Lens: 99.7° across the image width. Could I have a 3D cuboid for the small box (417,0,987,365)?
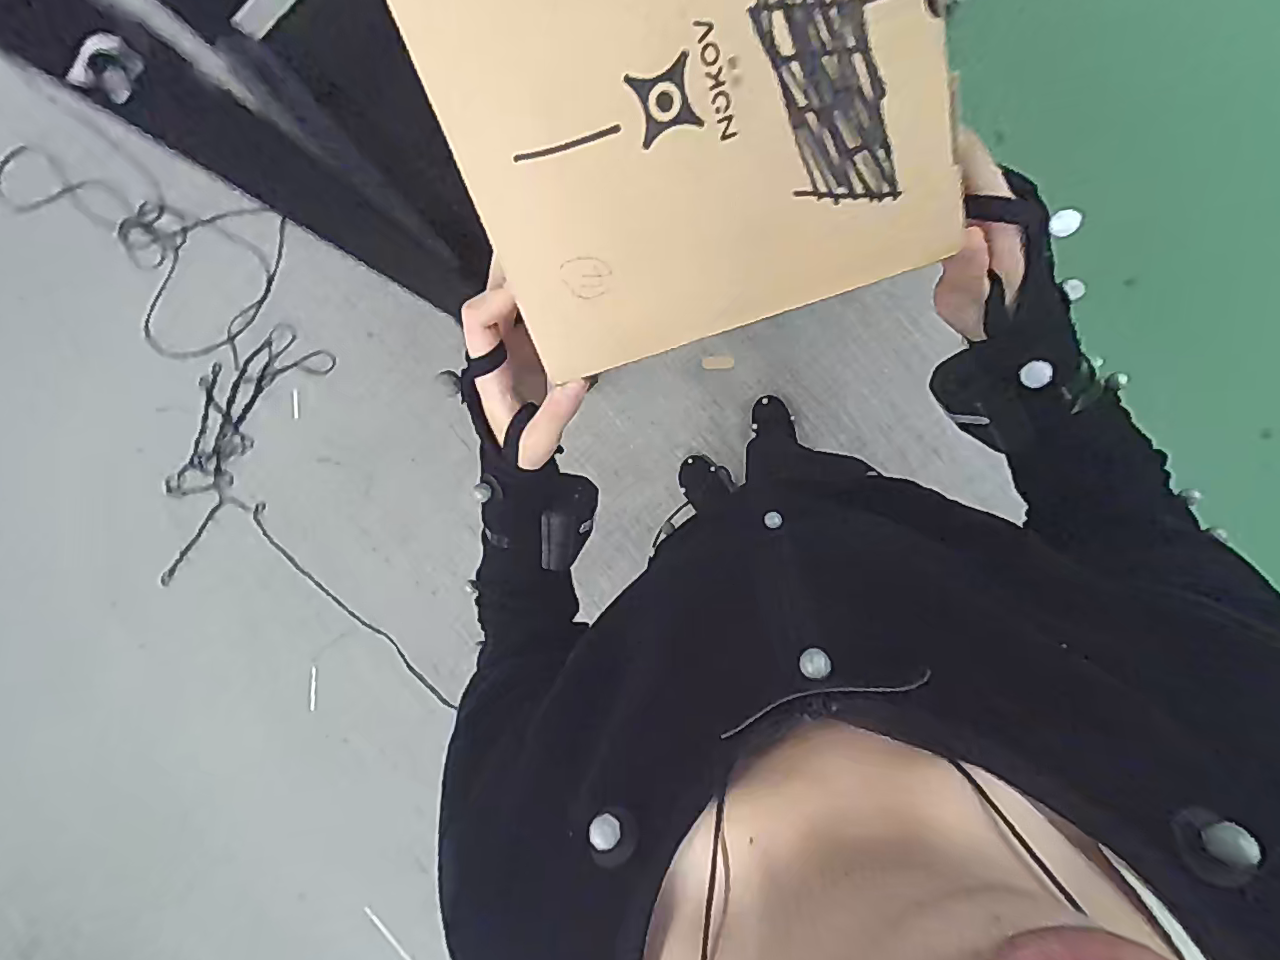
[{"bbox_3d":[0.026,-0.175,0.252,0.179,0.176,0.168,-15,116,10],"label":"small box"}]
